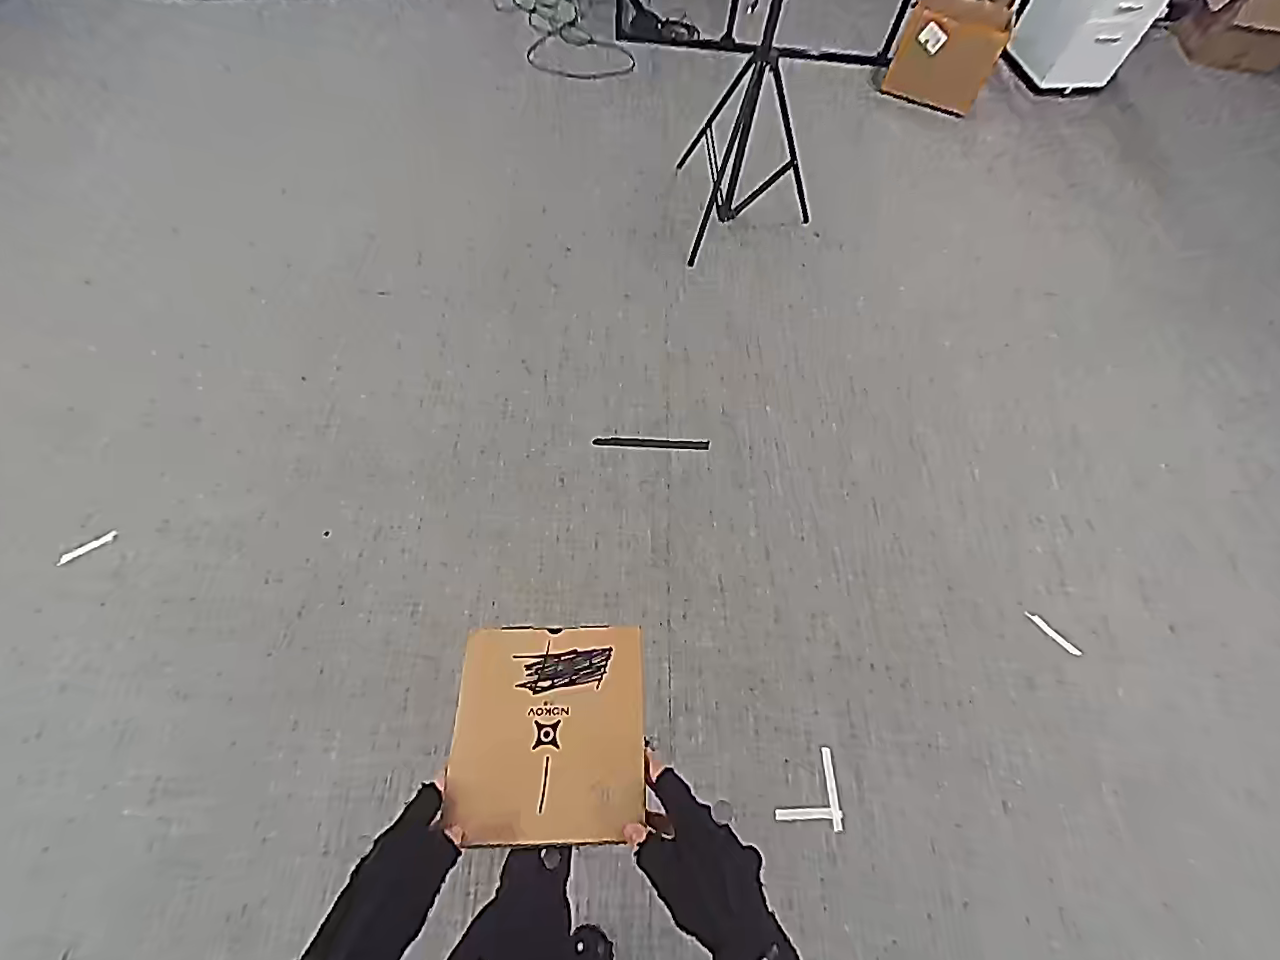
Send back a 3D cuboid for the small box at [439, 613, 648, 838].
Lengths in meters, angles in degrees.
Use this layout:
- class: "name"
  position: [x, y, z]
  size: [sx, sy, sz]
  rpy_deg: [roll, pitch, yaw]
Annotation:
- class: "small box"
  position: [-0.077, 0.246, 0.534]
  size: [0.168, 0.176, 0.179]
  rpy_deg: [-1, 55, 0]
